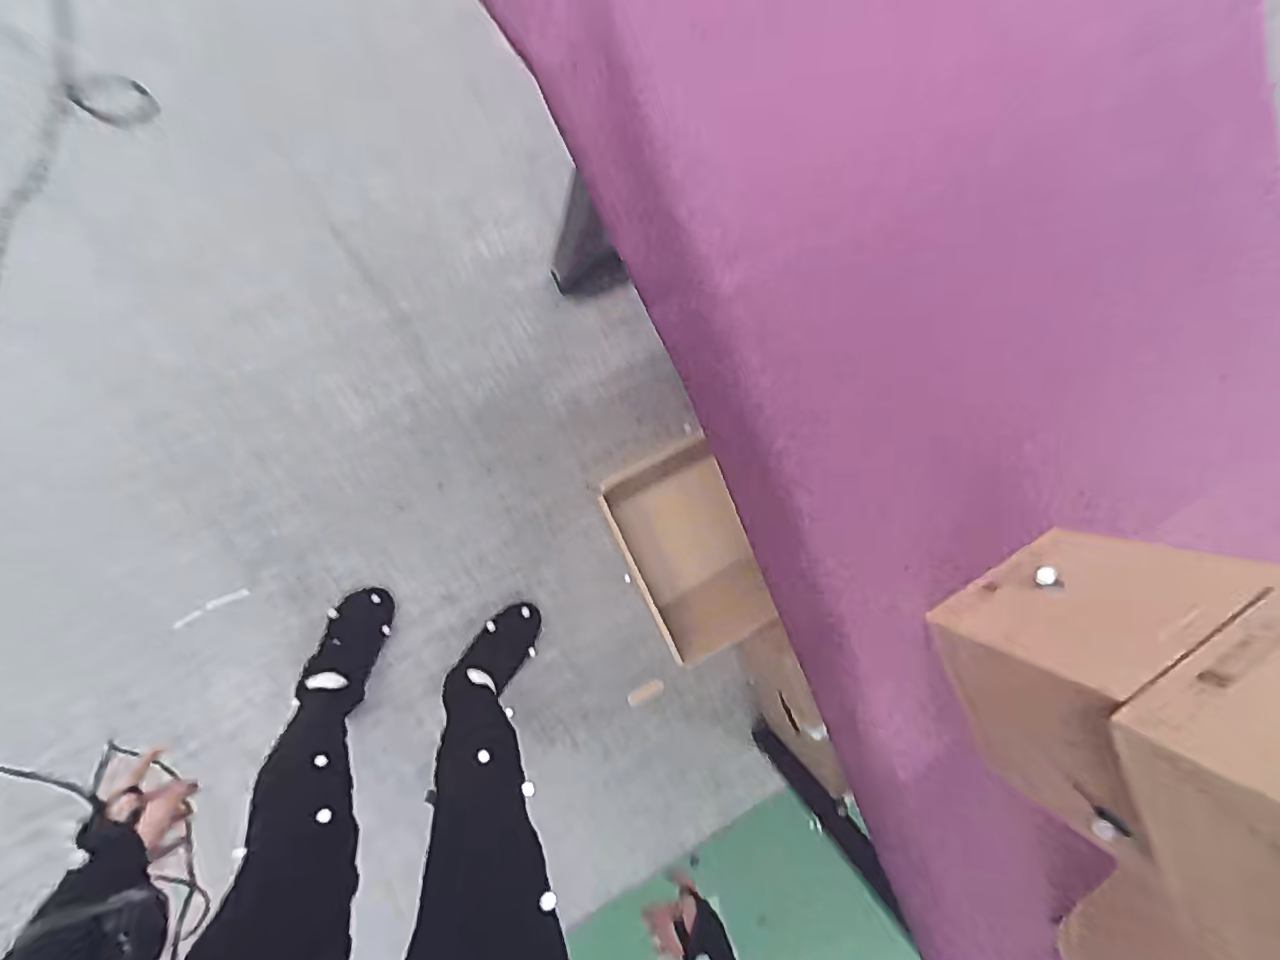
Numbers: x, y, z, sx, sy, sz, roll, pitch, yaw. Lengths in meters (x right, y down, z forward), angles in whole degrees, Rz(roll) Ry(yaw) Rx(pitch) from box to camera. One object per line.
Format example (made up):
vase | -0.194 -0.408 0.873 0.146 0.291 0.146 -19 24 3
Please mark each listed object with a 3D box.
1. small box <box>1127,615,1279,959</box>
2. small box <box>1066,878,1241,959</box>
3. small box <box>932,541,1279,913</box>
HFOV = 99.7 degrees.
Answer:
small box | 0.398 0.182 0.263 0.168 0.176 0.179 -29 99 -10
small box | 0.542 0.491 0.485 0.179 0.176 0.168 -30 98 -11
small box | 0.377 0.168 0.426 0.168 0.176 0.179 -28 99 -11
